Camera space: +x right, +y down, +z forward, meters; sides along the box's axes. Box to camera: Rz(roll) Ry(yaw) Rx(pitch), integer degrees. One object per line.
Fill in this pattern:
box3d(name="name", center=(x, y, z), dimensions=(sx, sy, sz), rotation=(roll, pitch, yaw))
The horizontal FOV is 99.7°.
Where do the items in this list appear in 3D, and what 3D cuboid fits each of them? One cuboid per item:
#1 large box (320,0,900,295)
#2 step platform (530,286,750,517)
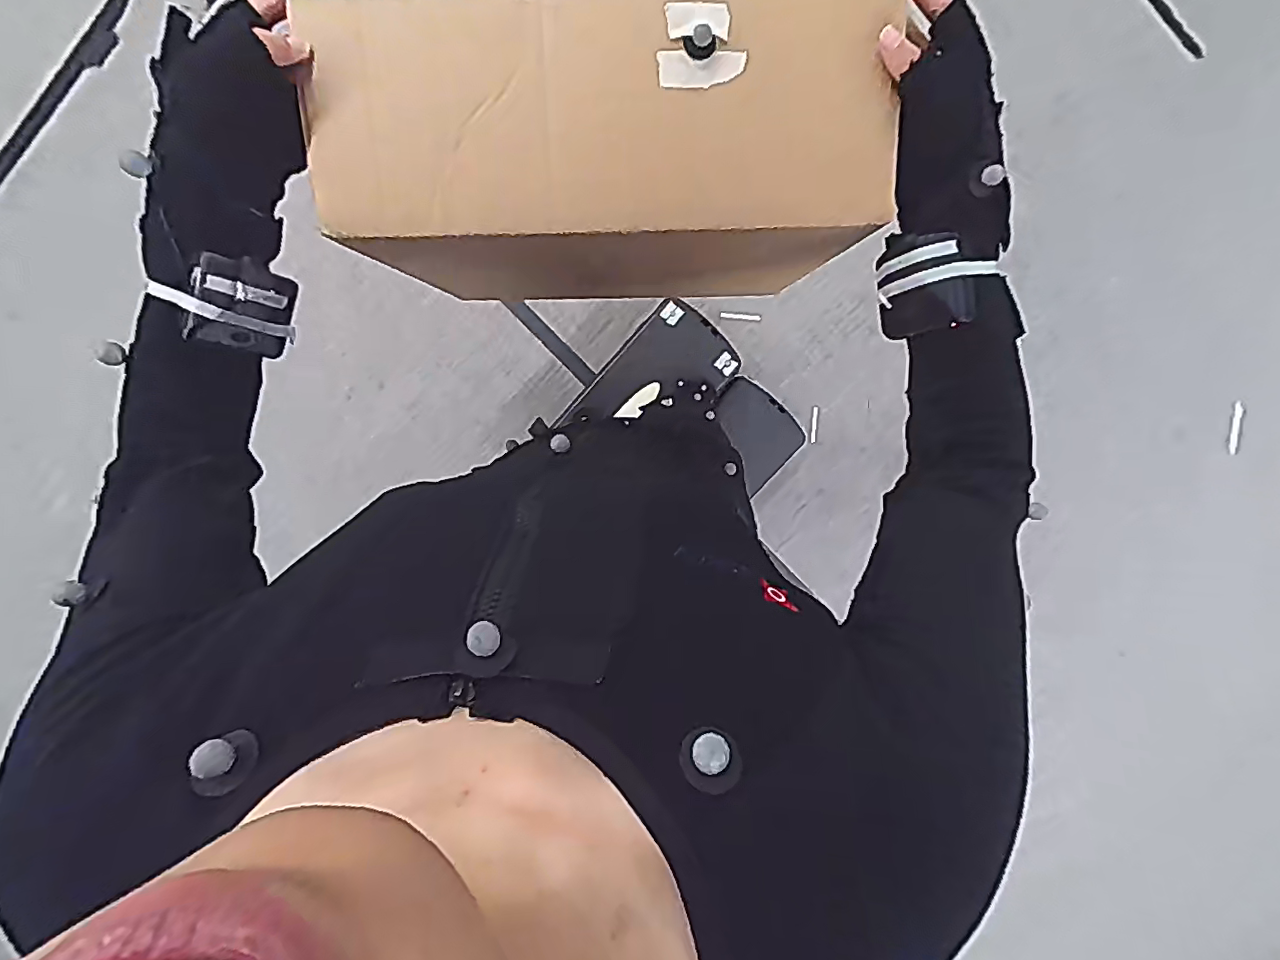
box3d(name="large box", center=(-0.023, -0.365, 0.513), dimensions=(0.408, 0.320, 0.320), rotation=(-2, 101, -1))
box3d(name="step platform", center=(-0.005, -0.220, 1.542), dimensions=(0.286, 0.204, 0.684), rotation=(41, 95, -7))
